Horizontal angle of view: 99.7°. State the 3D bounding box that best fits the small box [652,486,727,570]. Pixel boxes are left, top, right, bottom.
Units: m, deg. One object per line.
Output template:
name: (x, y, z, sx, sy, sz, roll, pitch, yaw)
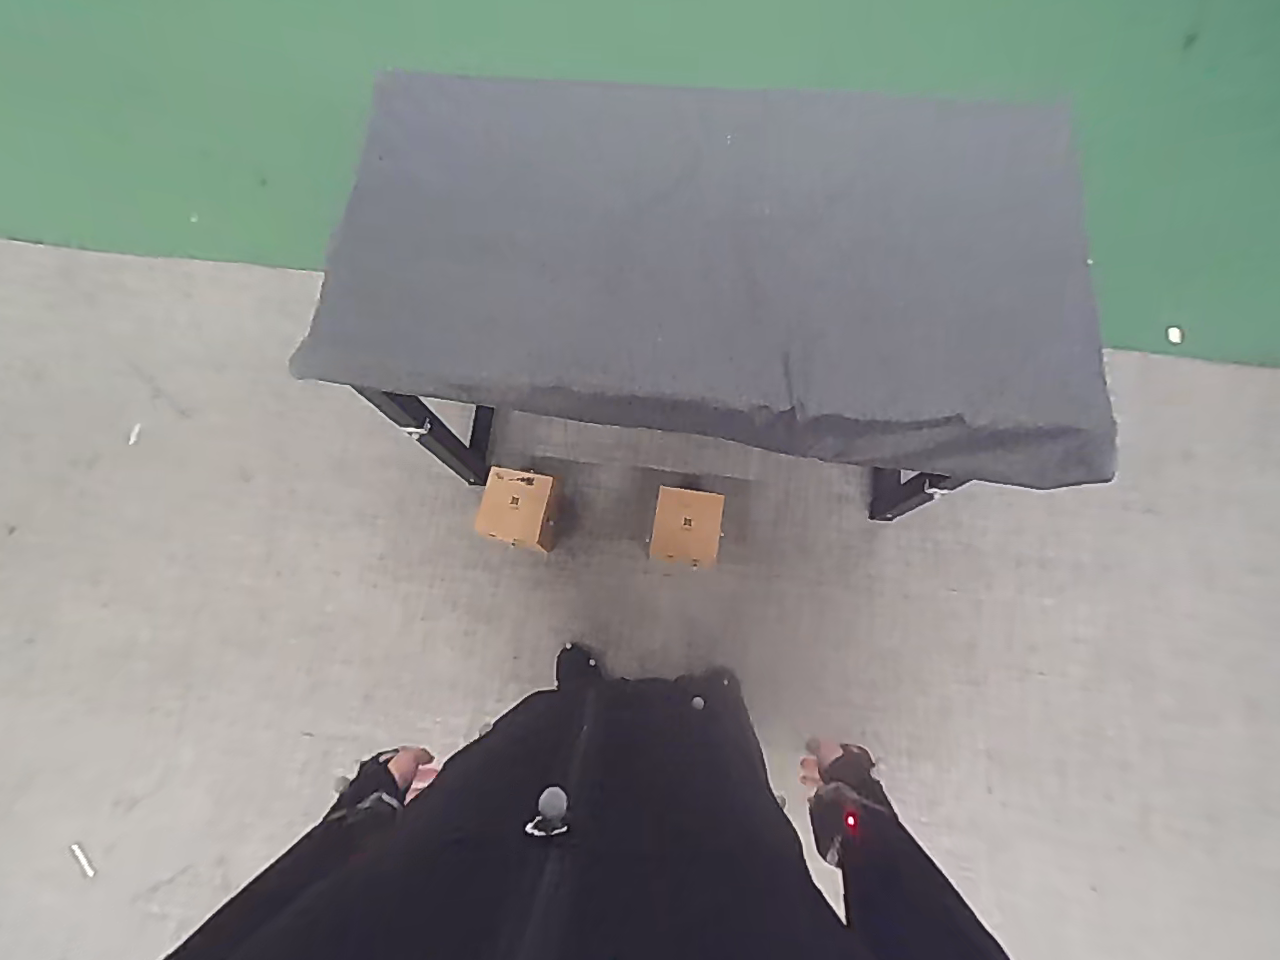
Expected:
small box: (0.126, 0.131, 1.406, 0.168, 0.176, 0.179, 9, 73, 3)
